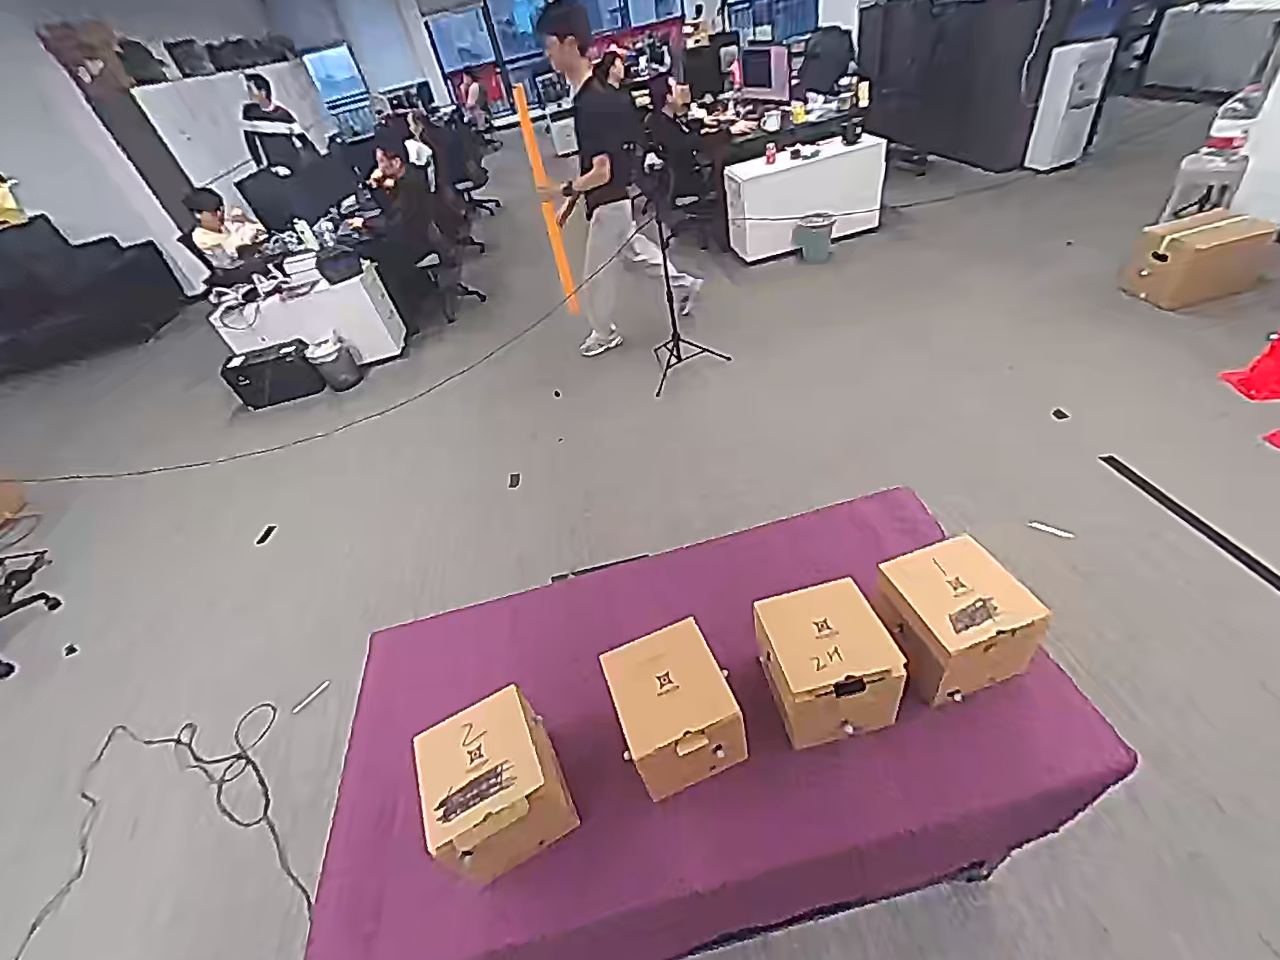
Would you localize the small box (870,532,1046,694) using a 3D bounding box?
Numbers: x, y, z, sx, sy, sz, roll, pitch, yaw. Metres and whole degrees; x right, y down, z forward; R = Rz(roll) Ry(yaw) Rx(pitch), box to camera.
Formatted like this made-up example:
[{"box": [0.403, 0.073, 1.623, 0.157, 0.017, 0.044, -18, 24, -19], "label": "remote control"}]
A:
[{"box": [0.498, 0.222, 0.879, 0.168, 0.176, 0.179, -19, 40, -4], "label": "small box"}]

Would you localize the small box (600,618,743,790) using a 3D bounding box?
[{"box": [0.053, 0.360, 0.858, 0.168, 0.176, 0.179, -21, 41, -8], "label": "small box"}]

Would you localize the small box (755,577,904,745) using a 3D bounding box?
[{"box": [0.290, 0.289, 0.865, 0.168, 0.176, 0.179, -14, 41, 0], "label": "small box"}]
